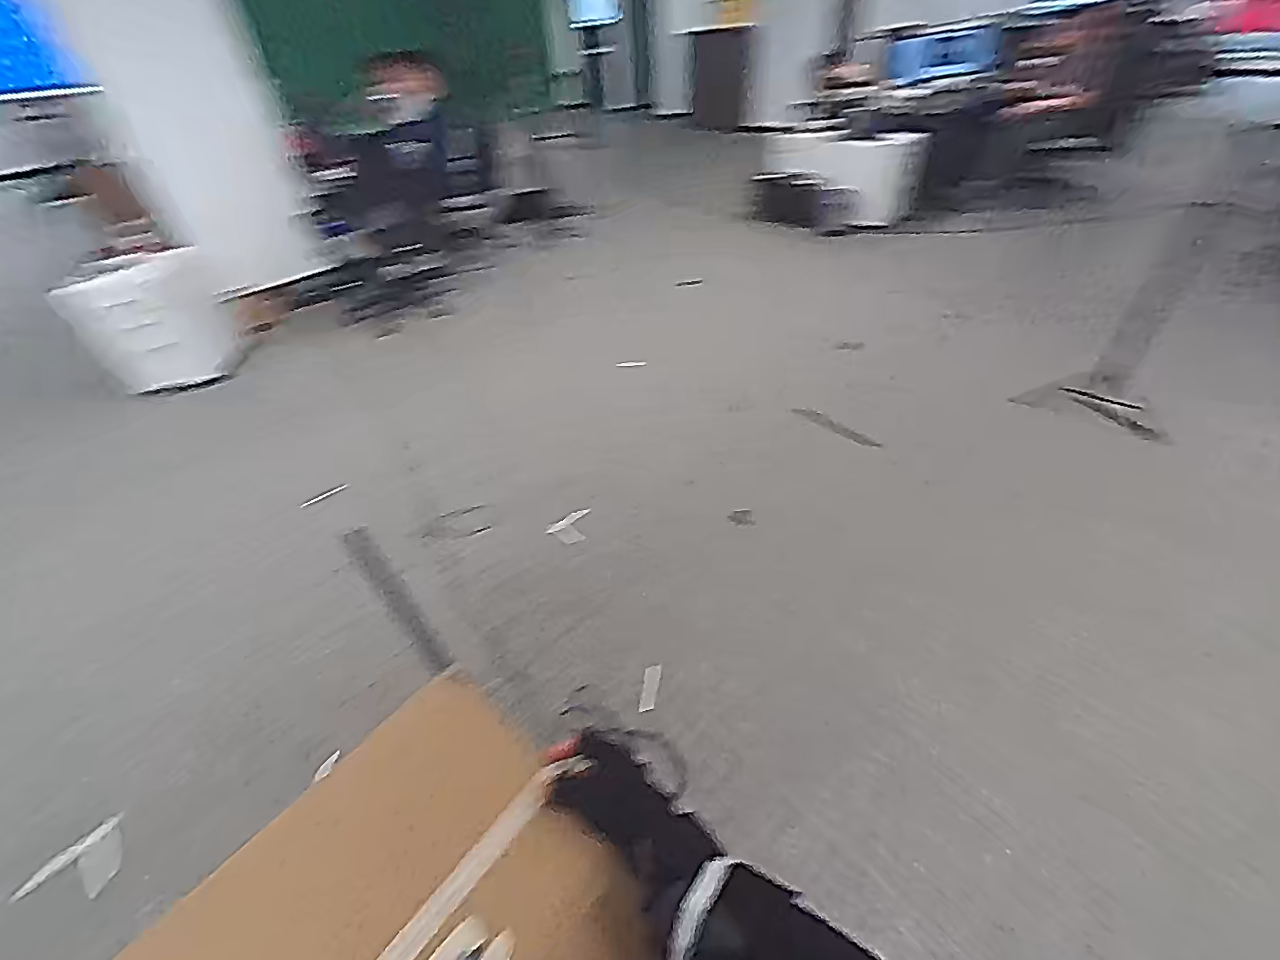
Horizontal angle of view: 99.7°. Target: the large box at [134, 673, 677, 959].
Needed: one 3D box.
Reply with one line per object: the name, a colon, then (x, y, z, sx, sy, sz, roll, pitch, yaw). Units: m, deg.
large box: (-0.215, 0.490, 0.522, 0.320, 0.320, 0.408, 34, 53, 23)
